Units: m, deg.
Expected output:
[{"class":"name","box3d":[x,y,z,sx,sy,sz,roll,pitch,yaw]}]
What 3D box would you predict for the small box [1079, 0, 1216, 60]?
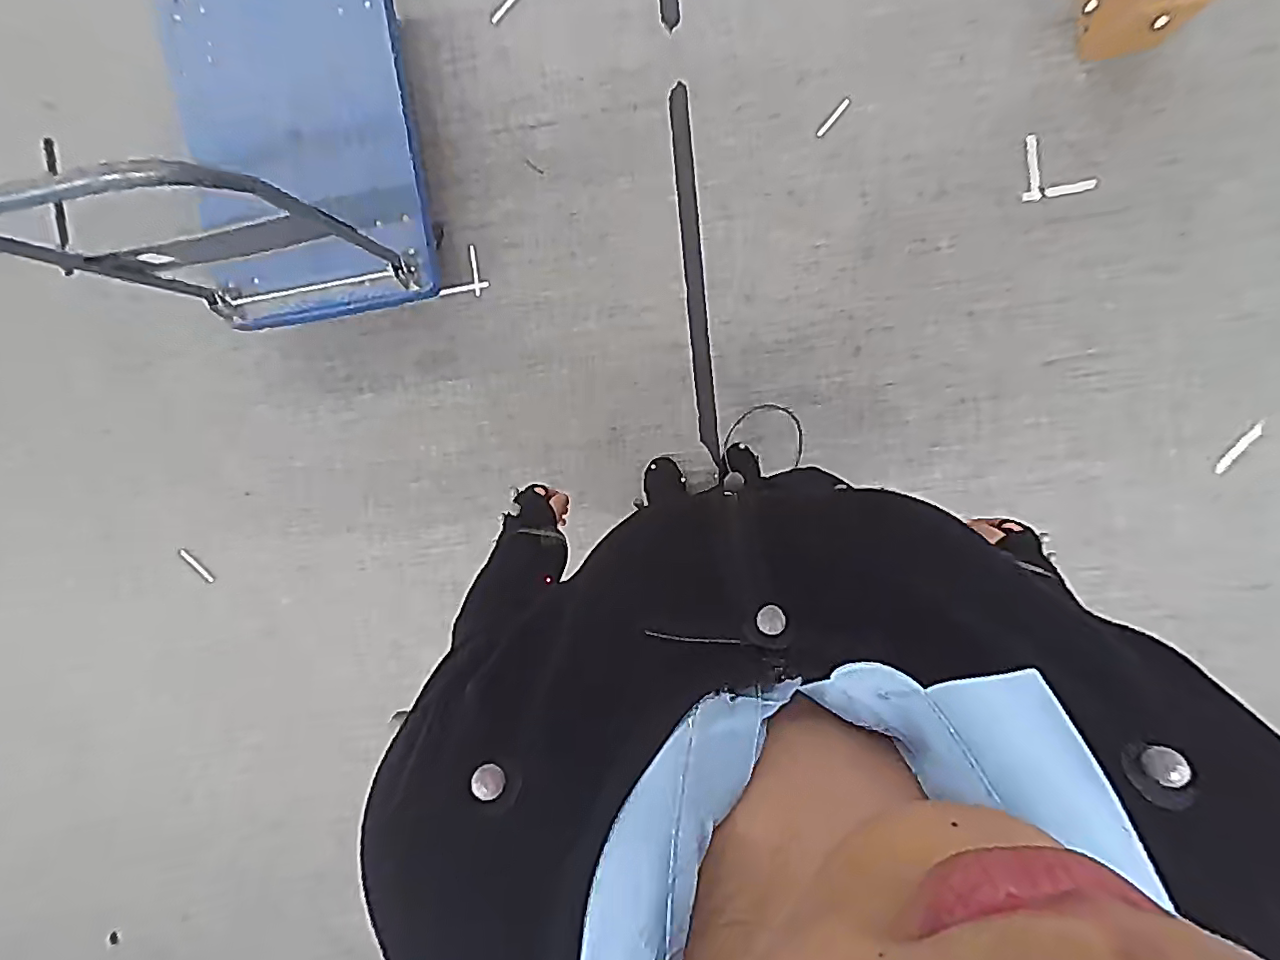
[{"class":"small box","box3d":[1.147,-1.103,1.222,0.179,0.176,0.168,-8,94,7]}]
